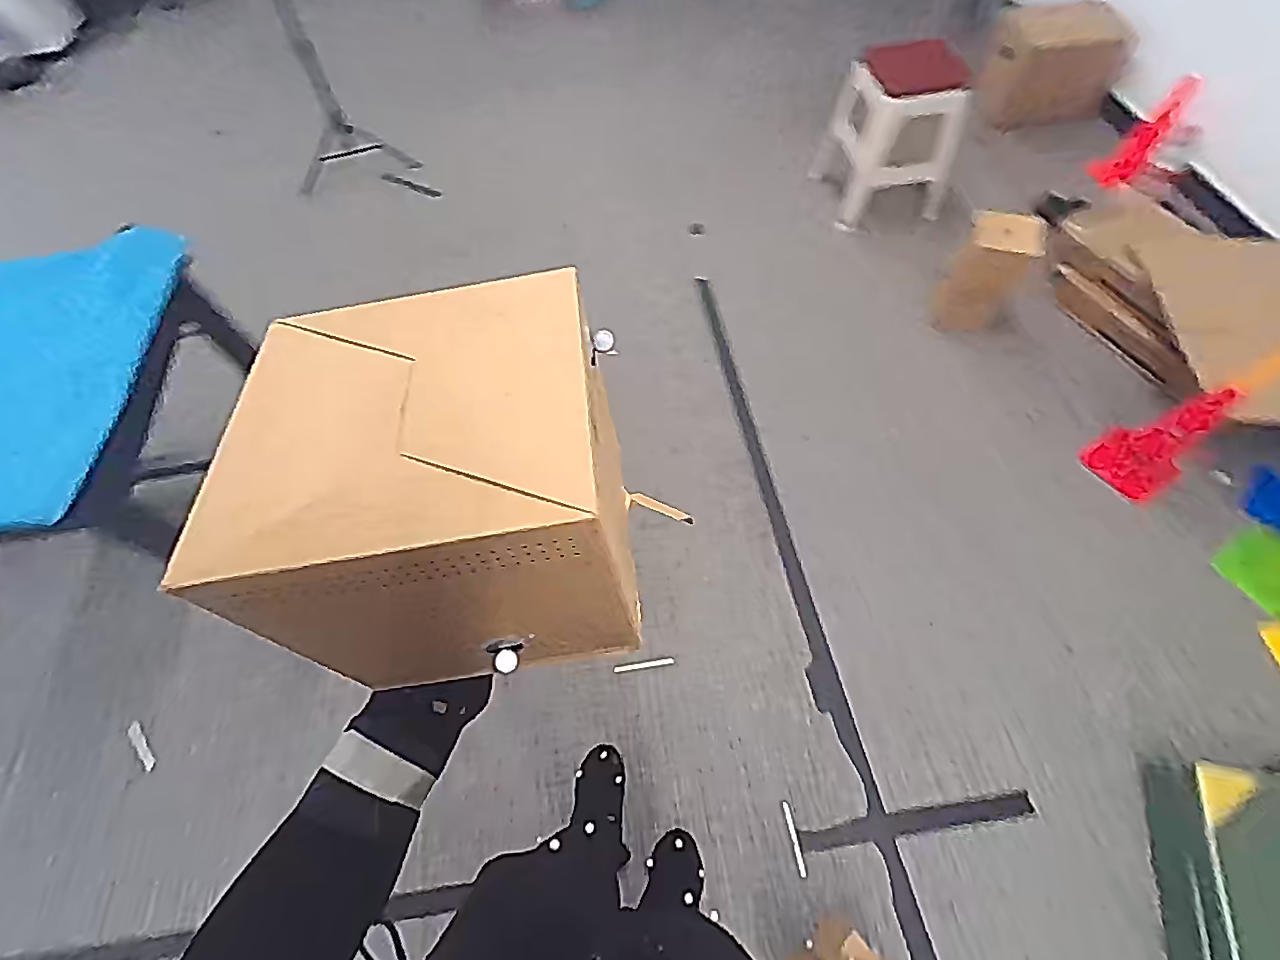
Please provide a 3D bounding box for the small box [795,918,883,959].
[{"bbox_3d":[0.394,0.959,0.999,0.168,0.176,0.179,-39,67,-16],"label":"small box"}]

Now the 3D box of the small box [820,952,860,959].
[{"bbox_3d":[0.371,0.888,0.850,0.179,0.176,0.168,12,65,10],"label":"small box"}]

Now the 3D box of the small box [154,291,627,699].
[{"bbox_3d":[-0.114,0.014,0.320,0.179,0.176,0.168,-10,55,1],"label":"small box"}]
